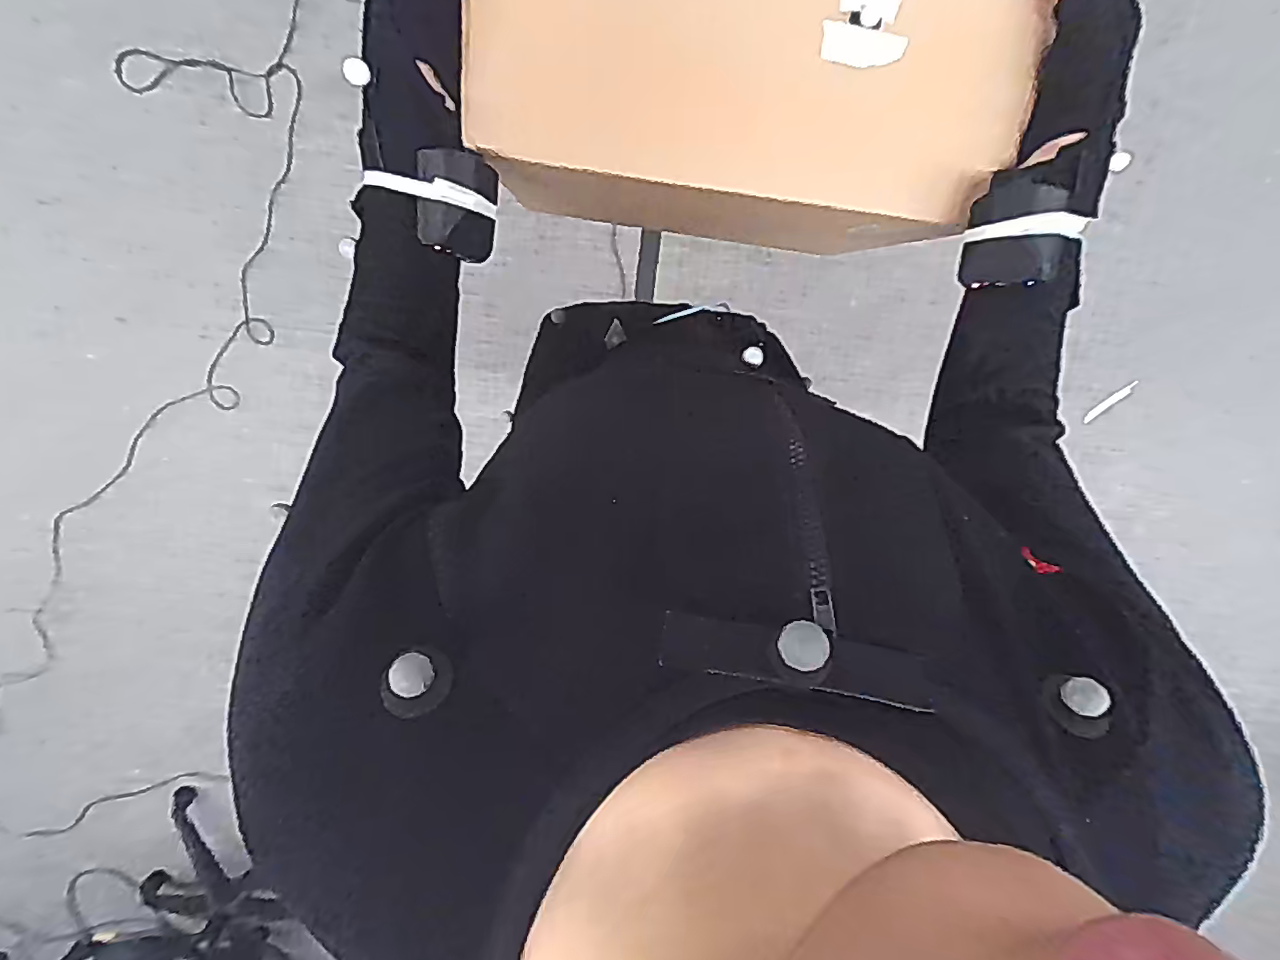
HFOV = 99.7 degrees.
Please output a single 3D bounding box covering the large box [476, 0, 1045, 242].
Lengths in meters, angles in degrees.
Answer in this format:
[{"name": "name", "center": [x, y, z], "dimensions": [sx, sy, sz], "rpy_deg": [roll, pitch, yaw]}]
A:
[{"name": "large box", "center": [0.081, -0.419, 0.500], "dimensions": [0.408, 0.320, 0.320], "rpy_deg": [5, 110, -7]}]
